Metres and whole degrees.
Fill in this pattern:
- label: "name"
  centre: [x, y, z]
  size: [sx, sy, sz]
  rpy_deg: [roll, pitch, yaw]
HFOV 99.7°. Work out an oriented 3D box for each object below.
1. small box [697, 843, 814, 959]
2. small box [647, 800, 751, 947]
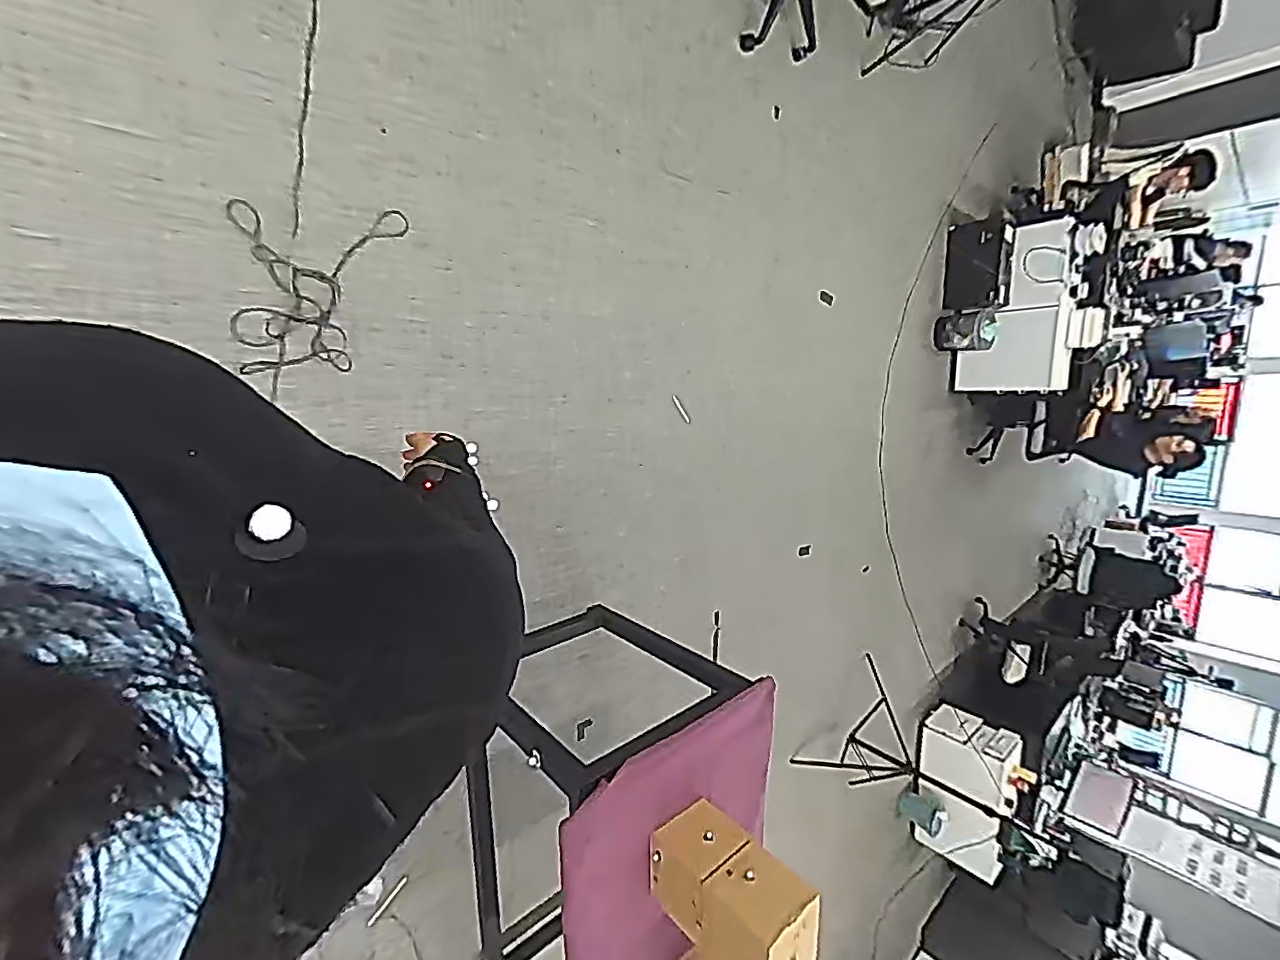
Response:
- label: "small box"
  centre: [0.231, 0.900, 1.100]
  size: [0.168, 0.176, 0.179]
  rpy_deg: [-9, 104, -40]
- label: "small box"
  centre: [0.130, 0.880, 1.230]
  size: [0.179, 0.176, 0.168]
  rpy_deg: [-9, 103, -40]
